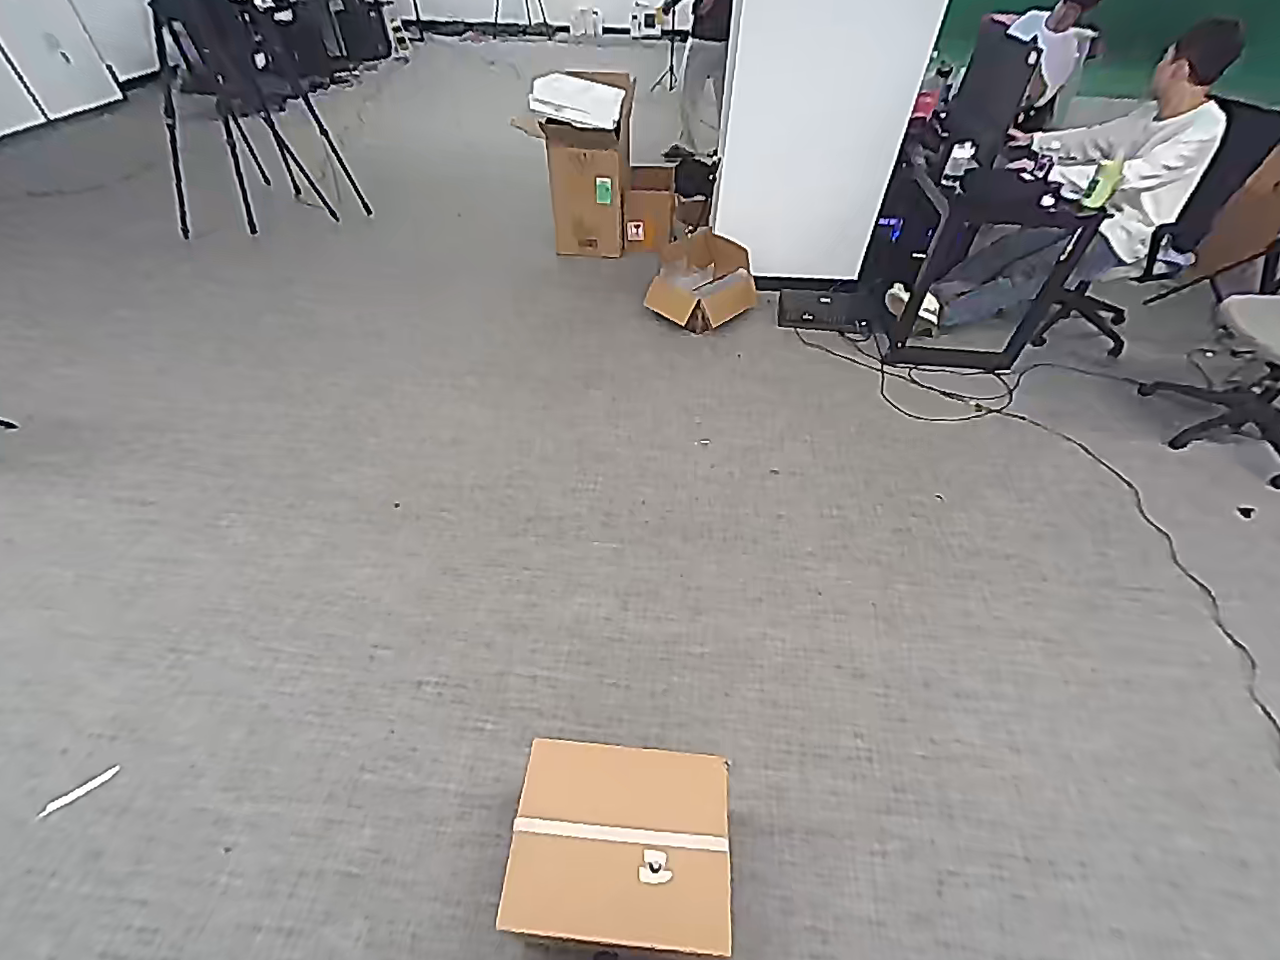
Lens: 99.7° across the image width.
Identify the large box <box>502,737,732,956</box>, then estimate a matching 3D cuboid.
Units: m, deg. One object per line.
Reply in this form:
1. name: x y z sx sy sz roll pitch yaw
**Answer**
1. large box: -0.038 0.764 1.125 0.408 0.320 0.320 5 47 2
